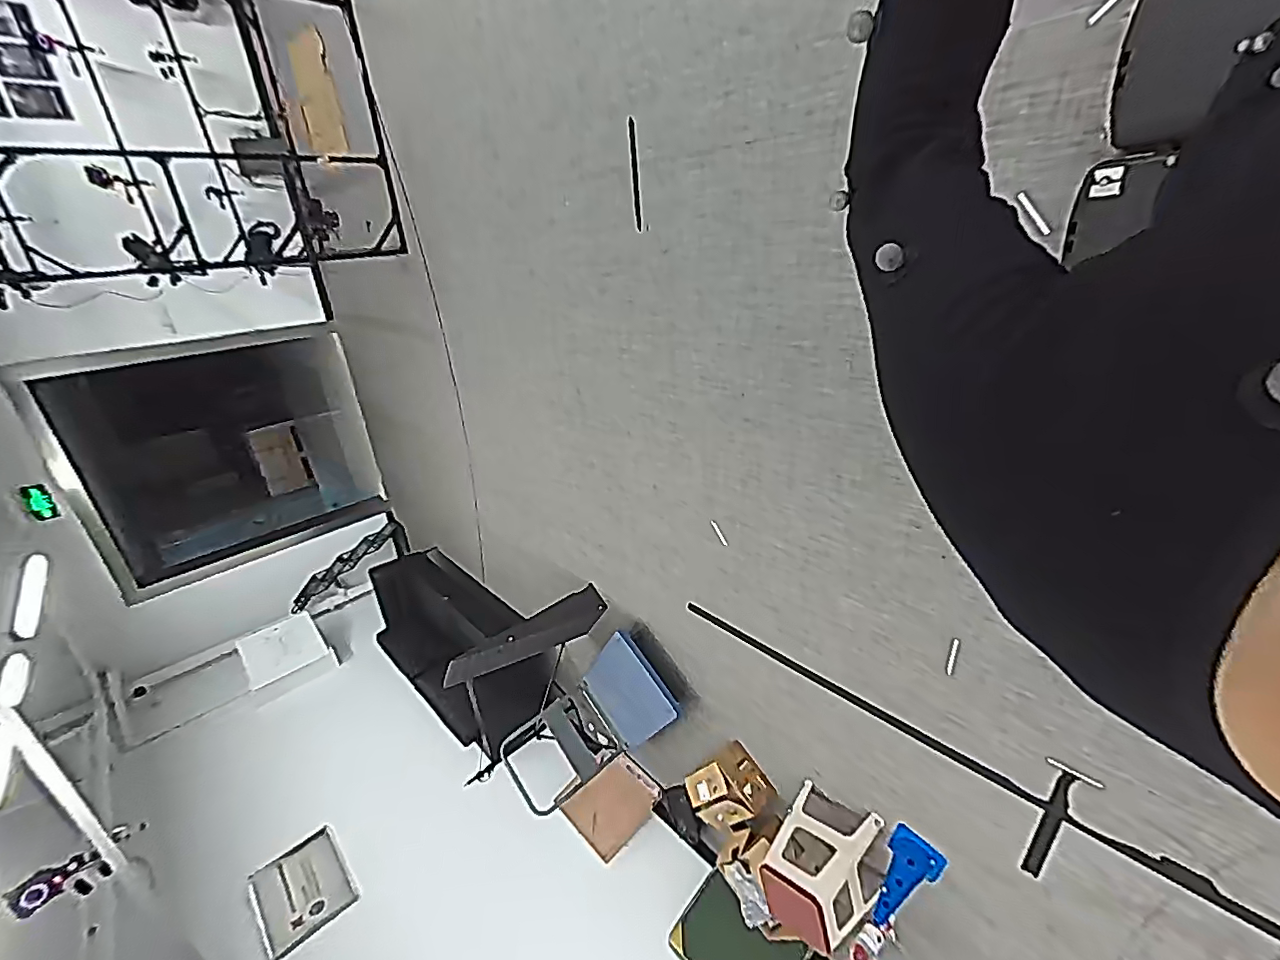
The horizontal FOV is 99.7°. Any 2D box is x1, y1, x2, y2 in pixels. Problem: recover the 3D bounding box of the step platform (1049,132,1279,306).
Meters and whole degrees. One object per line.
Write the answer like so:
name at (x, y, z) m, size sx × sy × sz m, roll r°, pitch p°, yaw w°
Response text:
step platform at (1.166, -0.468, 0.969) m, size 0.684 × 0.204 × 0.286 m, roll 19°, pitch 123°, yaw 45°
